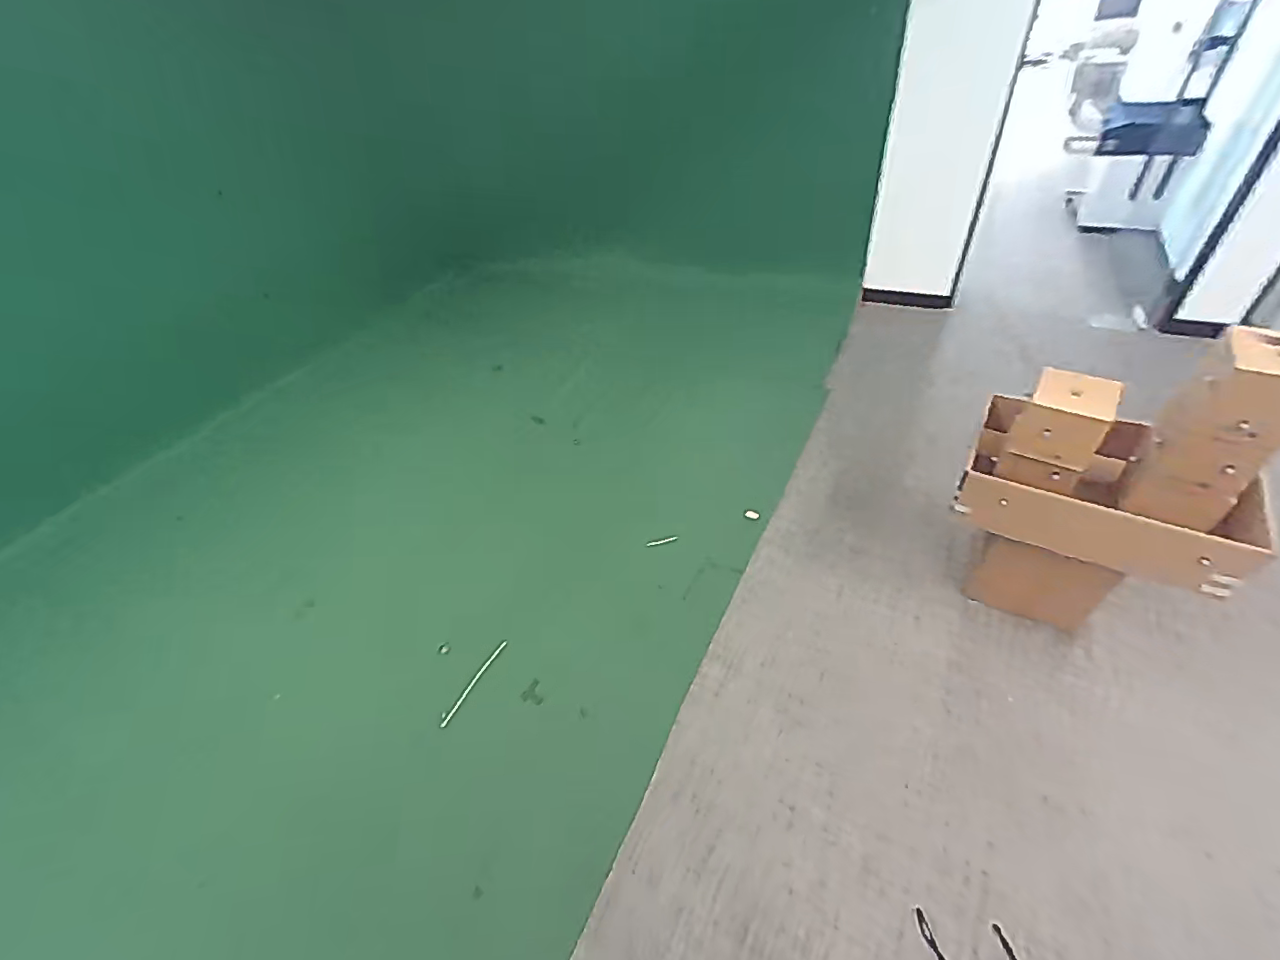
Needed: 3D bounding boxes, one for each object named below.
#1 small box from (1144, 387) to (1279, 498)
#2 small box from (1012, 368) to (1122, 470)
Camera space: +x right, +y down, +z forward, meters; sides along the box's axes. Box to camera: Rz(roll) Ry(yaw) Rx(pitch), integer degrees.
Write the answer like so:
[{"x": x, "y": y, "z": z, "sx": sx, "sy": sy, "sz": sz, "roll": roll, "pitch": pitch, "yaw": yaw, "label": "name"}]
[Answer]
[{"x": 1.325, "y": -0.087, "z": 1.263, "sx": 0.168, "sy": 0.176, "sz": 0.179, "roll": 21, "pitch": 52, "yaw": 27, "label": "small box"}, {"x": 1.079, "y": -0.154, "z": 1.376, "sx": 0.168, "sy": 0.176, "sz": 0.179, "roll": 23, "pitch": 52, "yaw": 29, "label": "small box"}]
